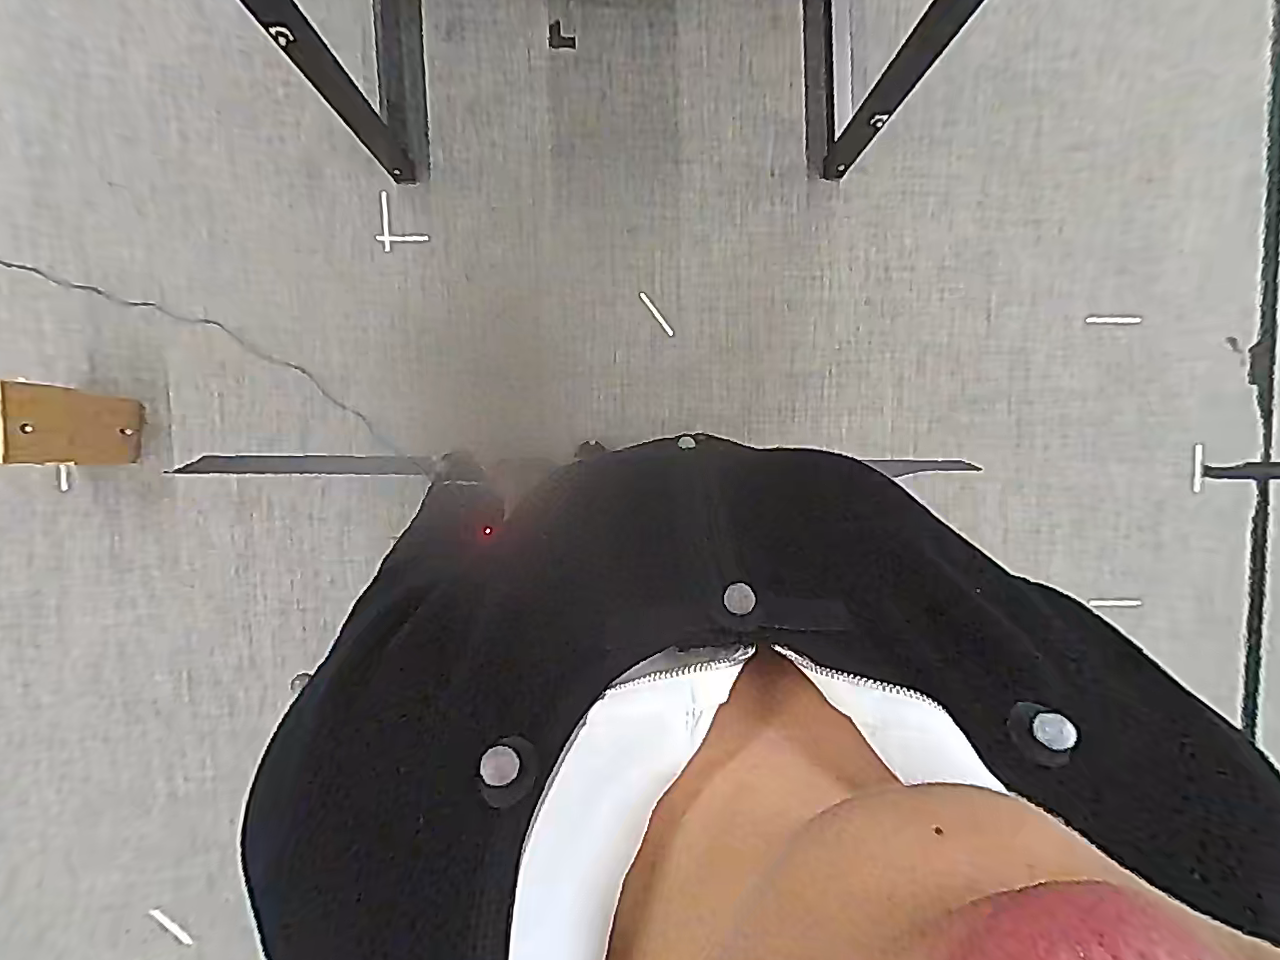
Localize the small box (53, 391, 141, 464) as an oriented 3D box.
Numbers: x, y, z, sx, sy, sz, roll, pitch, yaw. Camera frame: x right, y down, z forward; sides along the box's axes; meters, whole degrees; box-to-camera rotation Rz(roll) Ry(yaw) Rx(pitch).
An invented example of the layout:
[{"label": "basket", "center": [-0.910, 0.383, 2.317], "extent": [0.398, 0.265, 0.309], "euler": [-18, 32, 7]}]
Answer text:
[{"label": "small box", "center": [-1.412, -0.135, 1.361], "extent": [0.168, 0.176, 0.179], "euler": [6, 93, -3]}]

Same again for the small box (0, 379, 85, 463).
[{"label": "small box", "center": [-1.391, -0.129, 1.197], "extent": [0.168, 0.176, 0.179], "euler": [0, 93, -2]}]
